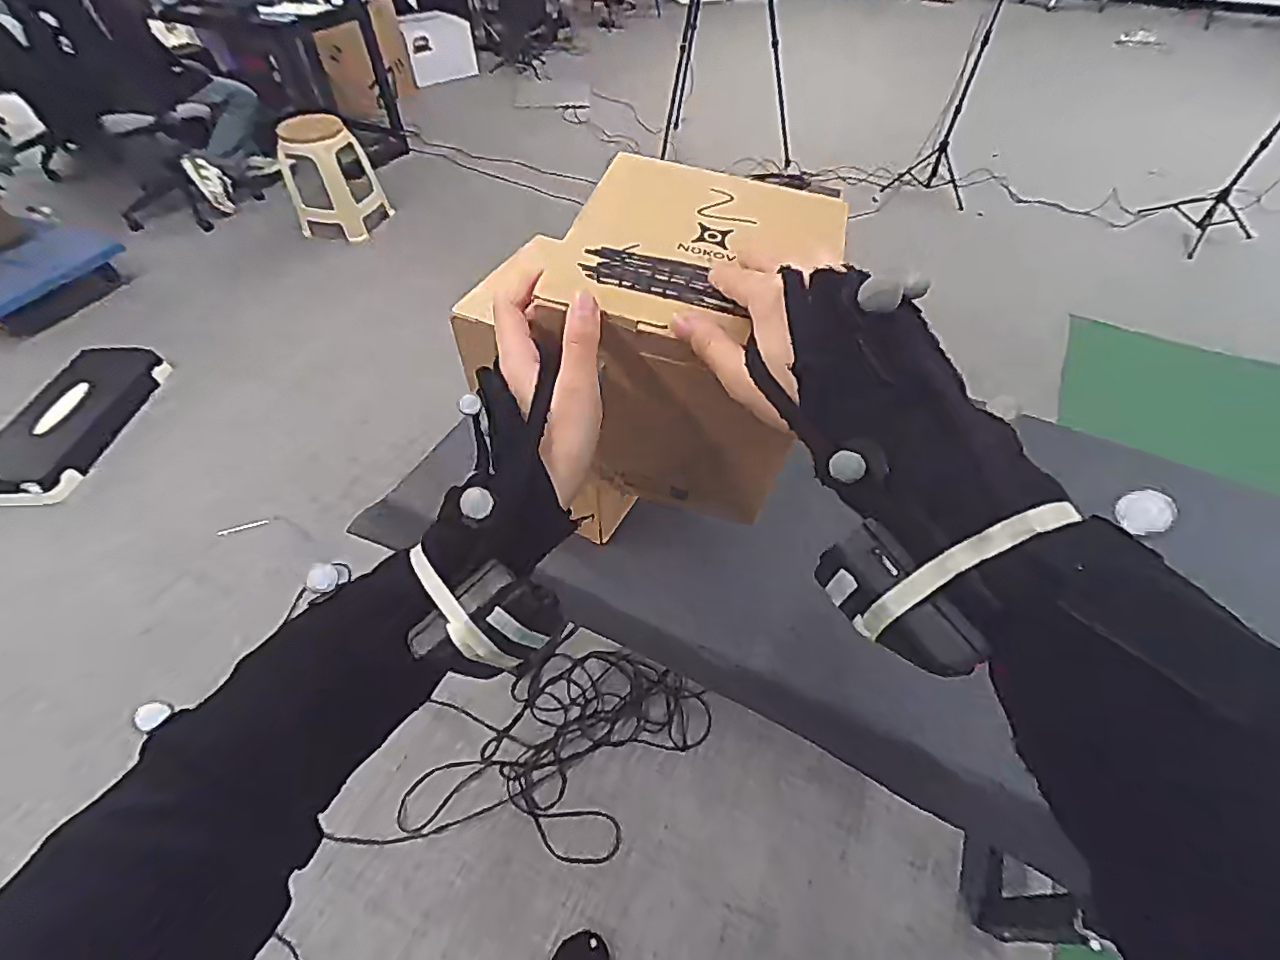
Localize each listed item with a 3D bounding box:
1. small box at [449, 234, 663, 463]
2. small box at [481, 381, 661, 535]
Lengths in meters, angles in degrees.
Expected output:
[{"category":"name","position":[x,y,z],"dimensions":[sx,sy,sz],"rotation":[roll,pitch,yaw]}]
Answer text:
[{"category":"small box","position":[-0.083,-0.148,0.622],"dimensions":[0.168,0.176,0.179],"rotation":[20,52,13]},{"category":"small box","position":[-0.088,-0.052,0.753],"dimensions":[0.179,0.176,0.168],"rotation":[24,54,17]}]
